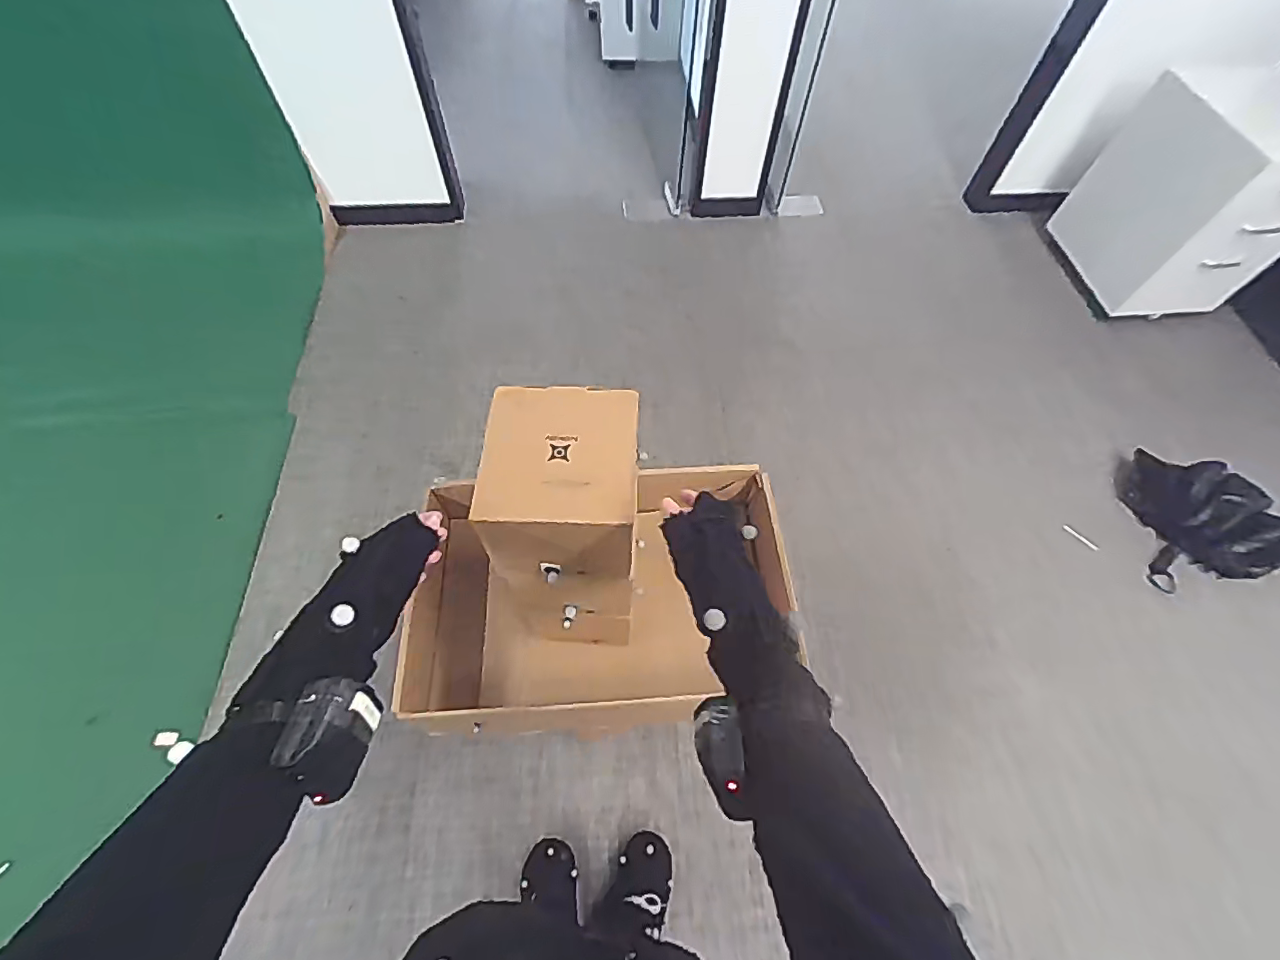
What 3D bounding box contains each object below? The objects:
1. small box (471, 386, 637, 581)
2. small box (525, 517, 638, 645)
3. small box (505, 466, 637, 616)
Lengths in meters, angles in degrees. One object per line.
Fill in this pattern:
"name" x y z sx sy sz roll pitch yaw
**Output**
"small box" -0.090 0.009 0.654 0.168 0.176 0.179 1 60 -1
"small box" -0.094 0.171 0.936 0.168 0.176 0.179 4 59 0
"small box" -0.093 0.087 0.795 0.168 0.176 0.179 2 60 -1
